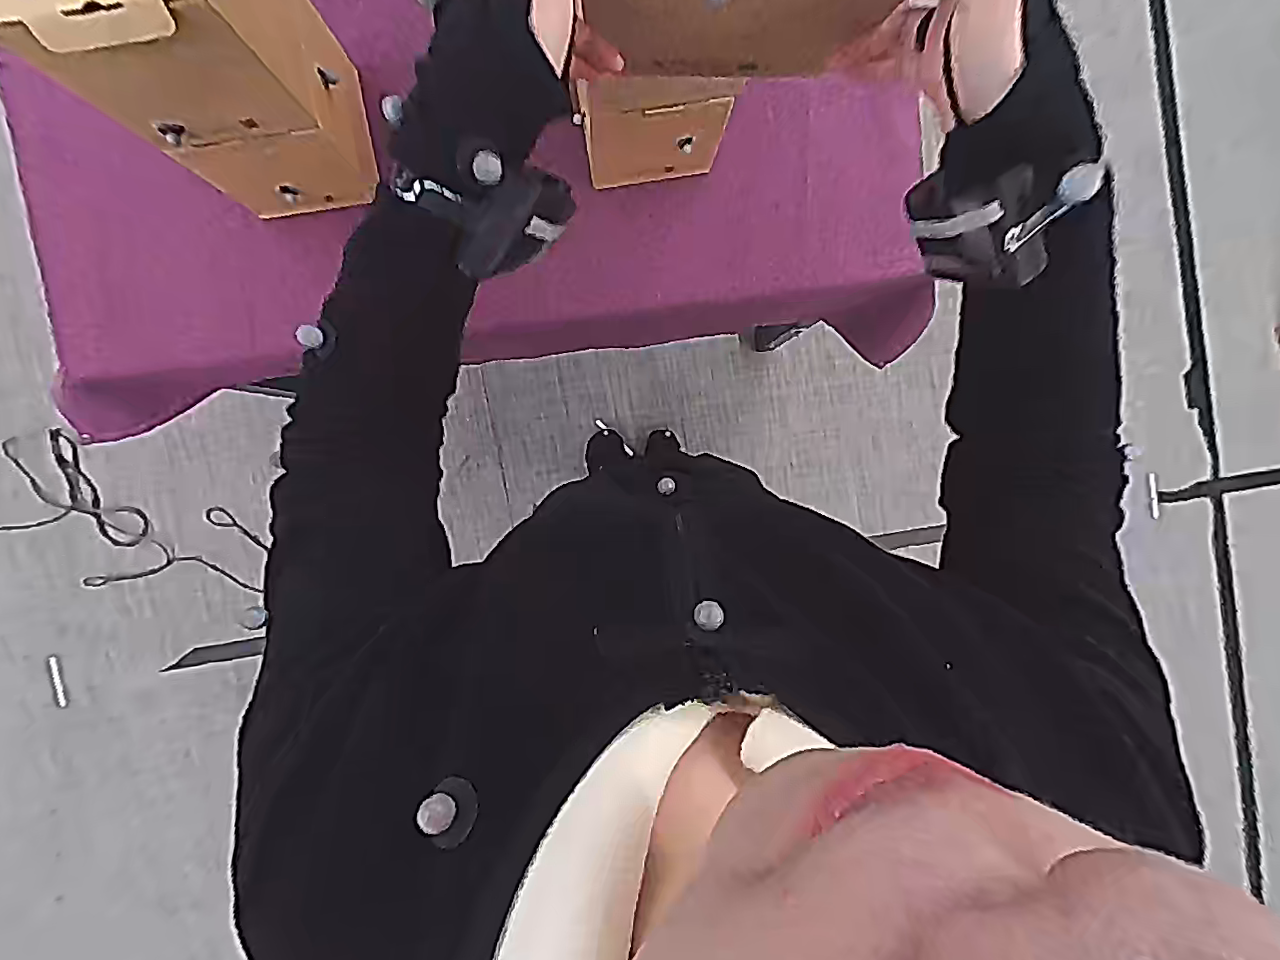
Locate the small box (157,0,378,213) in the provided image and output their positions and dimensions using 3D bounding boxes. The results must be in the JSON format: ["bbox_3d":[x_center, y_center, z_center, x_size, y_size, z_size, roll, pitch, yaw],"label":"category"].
[{"bbox_3d":[-0.439,-0.450,0.643,0.168,0.176,0.179,-10,95,-3],"label":"small box"}]

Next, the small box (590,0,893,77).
[{"bbox_3d":[0.053,-0.334,0.264,0.168,0.176,0.179,0,110,-2],"label":"small box"}]

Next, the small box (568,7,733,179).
[{"bbox_3d":[0.007,-0.497,0.666,0.168,0.176,0.179,-9,94,-3],"label":"small box"}]

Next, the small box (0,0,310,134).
[{"bbox_3d":[-0.430,-0.440,0.479,0.168,0.176,0.179,-12,94,-3],"label":"small box"}]

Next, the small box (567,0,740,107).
[{"bbox_3d":[0.017,-0.484,0.502,0.179,0.176,0.168,-10,95,-3],"label":"small box"}]
